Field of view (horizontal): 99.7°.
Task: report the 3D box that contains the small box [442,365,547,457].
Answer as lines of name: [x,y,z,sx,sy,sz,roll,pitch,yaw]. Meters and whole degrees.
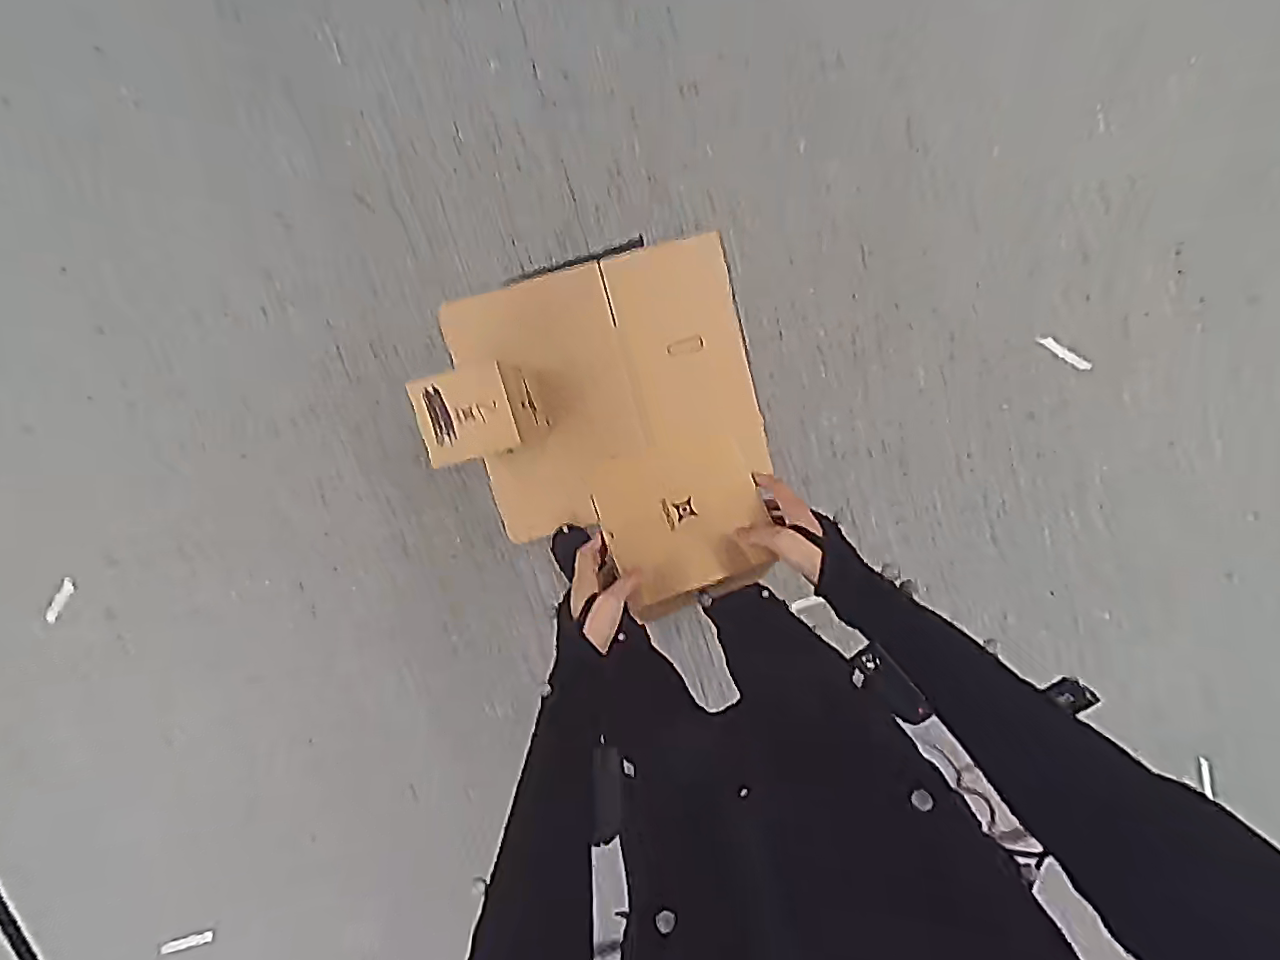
small box: [-0.321,-0.162,1.237,0.179,0.176,0.168,-15,99,1]

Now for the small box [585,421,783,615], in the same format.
small box: [0.049,0.056,0.661,0.179,0.176,0.168,-20,72,-2]
